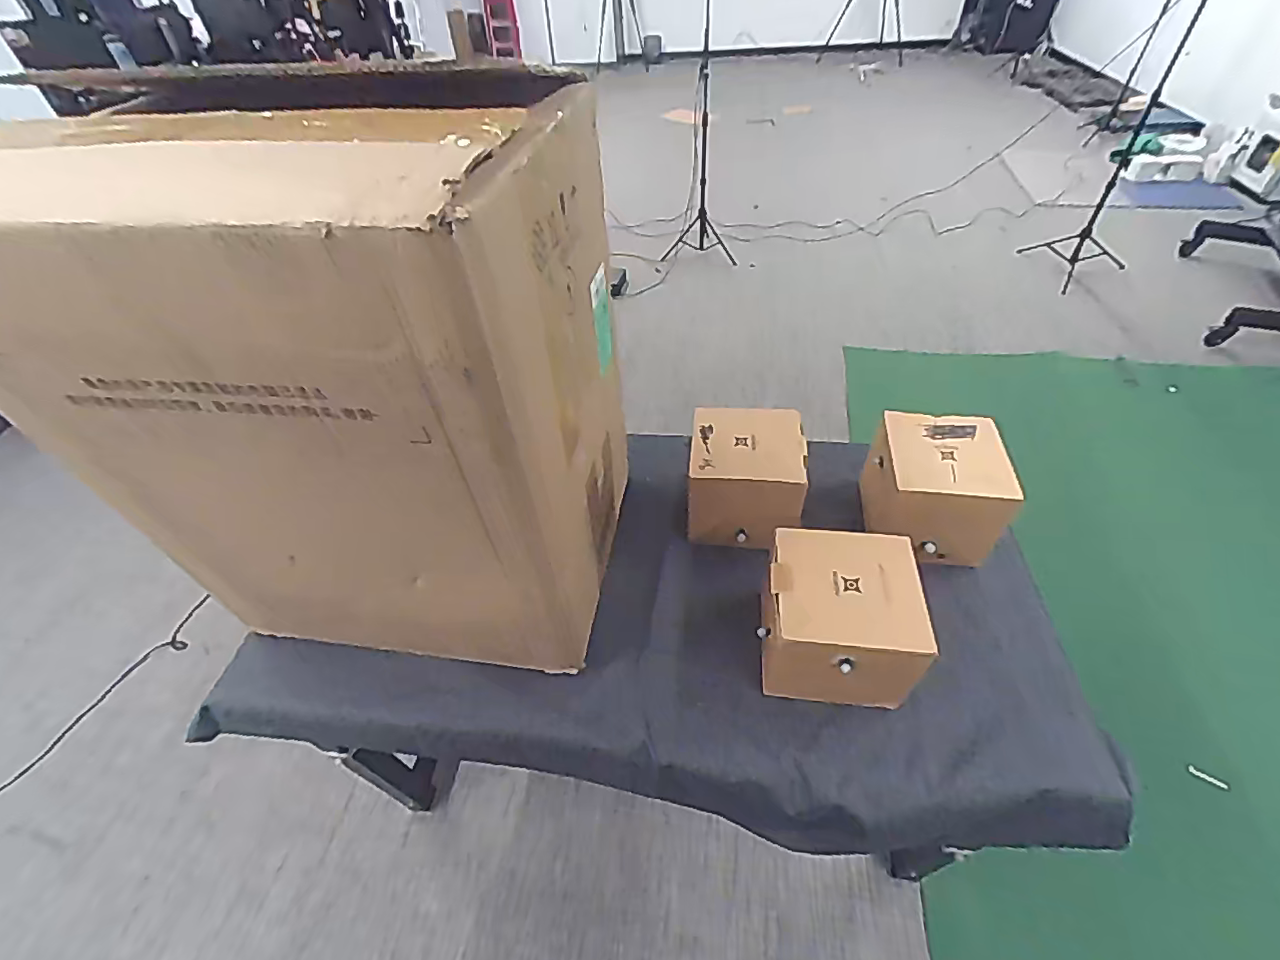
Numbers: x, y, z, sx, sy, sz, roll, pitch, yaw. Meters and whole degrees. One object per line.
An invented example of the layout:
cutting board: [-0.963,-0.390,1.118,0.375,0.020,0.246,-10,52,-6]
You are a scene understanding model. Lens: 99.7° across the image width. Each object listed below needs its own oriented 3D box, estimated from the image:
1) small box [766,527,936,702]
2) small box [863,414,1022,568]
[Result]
small box: [0.266,0.184,0.733,0.179,0.176,0.168,4,48,7]
small box: [0.470,0.016,0.875,0.168,0.176,0.179,5,48,10]
